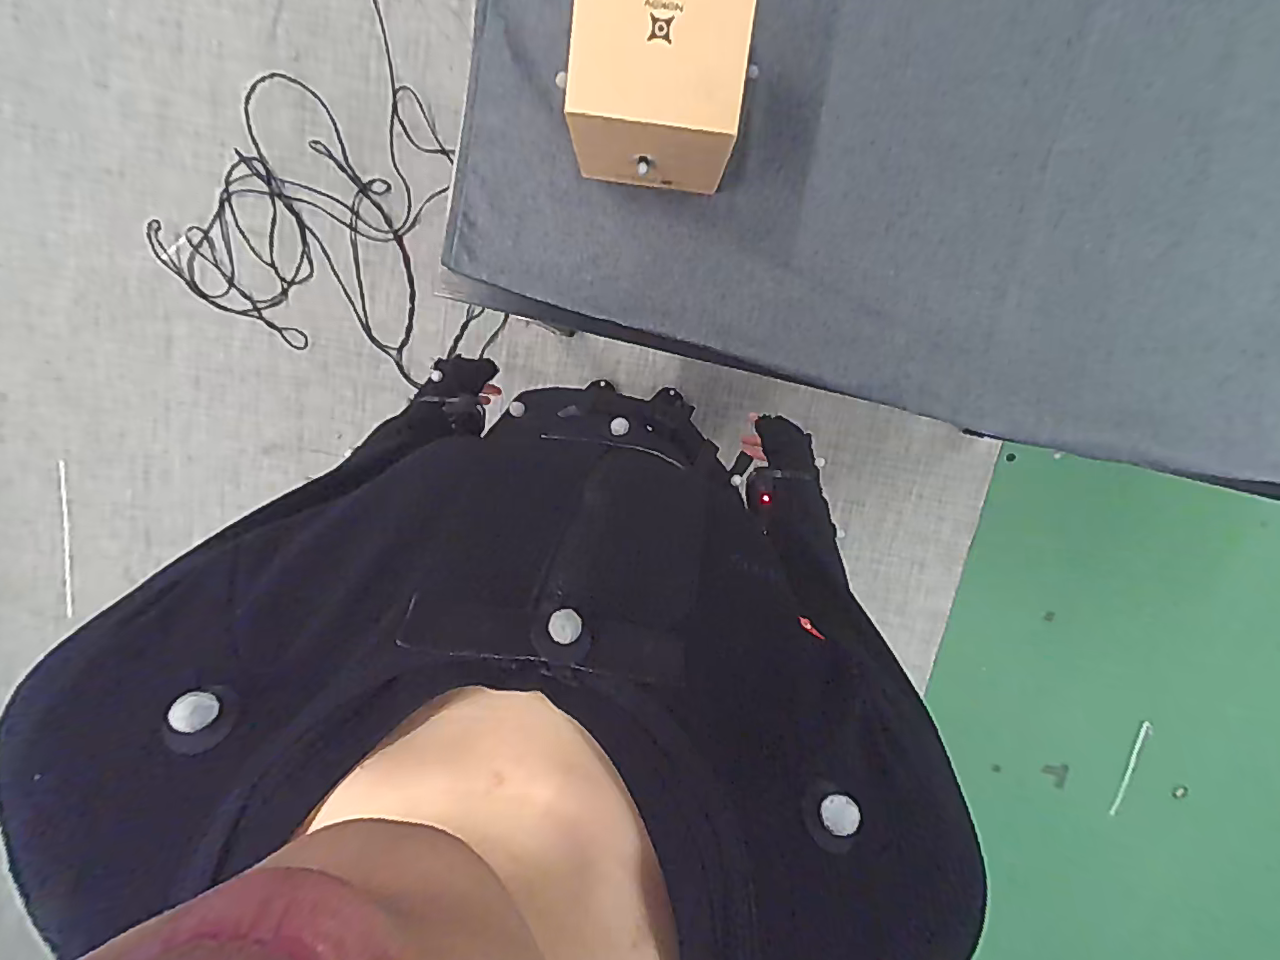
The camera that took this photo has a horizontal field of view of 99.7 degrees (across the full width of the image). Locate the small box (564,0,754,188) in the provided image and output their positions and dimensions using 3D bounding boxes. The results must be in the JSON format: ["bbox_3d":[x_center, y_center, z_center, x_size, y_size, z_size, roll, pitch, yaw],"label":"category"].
[{"bbox_3d":[0.020,-0.433,0.569,0.168,0.176,0.179,7,100,-2],"label":"small box"}]
